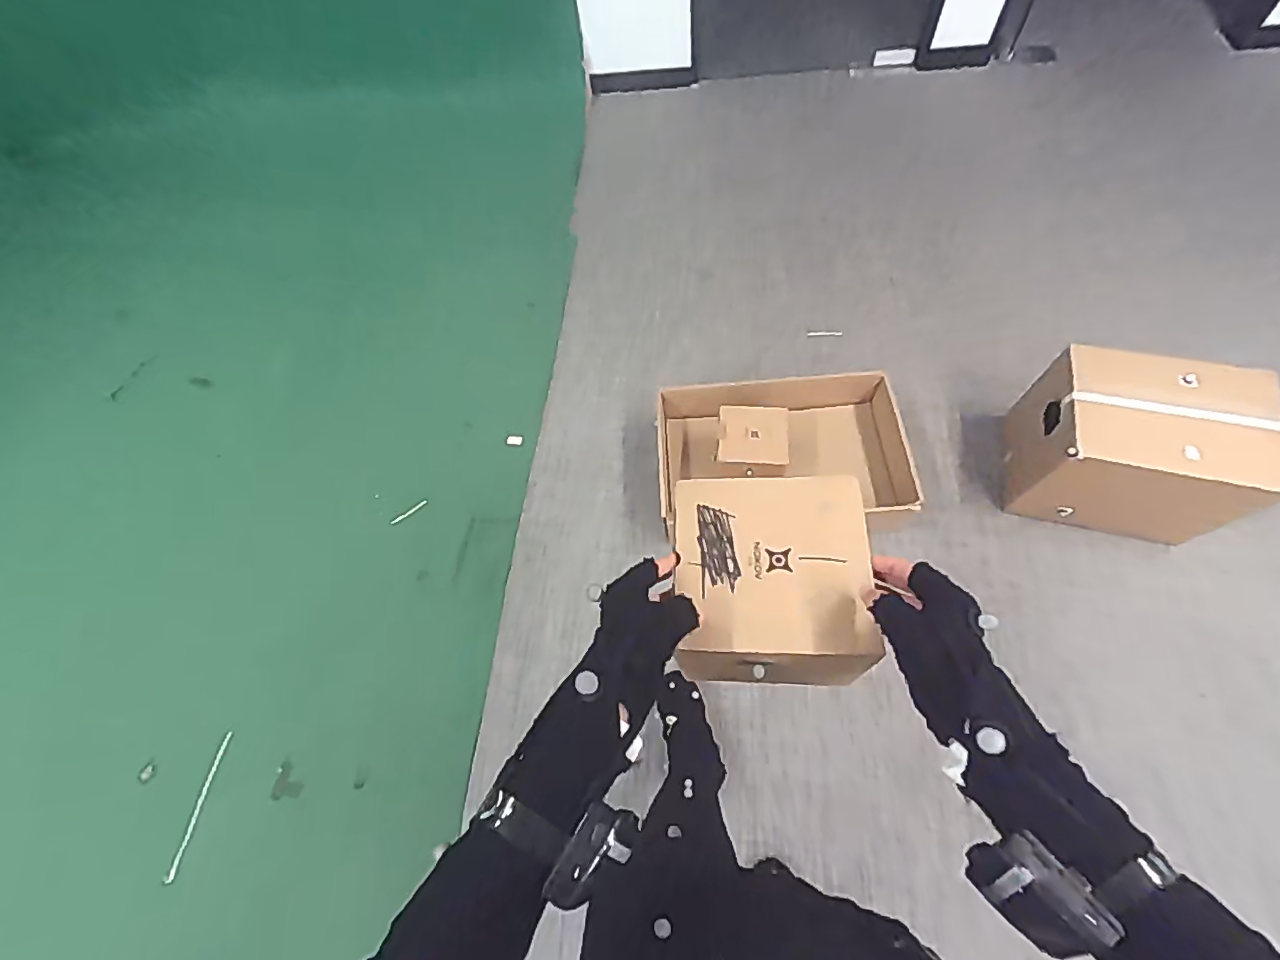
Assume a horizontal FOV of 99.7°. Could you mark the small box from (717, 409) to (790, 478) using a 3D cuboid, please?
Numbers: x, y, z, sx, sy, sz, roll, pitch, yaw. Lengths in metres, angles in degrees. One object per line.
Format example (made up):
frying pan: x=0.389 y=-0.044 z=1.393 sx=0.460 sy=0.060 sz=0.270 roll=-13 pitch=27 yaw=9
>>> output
small box: x=0.296 y=-0.073 z=1.437 sx=0.179 sy=0.176 sz=0.168 roll=3 pitch=64 yaw=6

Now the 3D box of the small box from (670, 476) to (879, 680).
small box: x=0.129 y=0.107 z=0.561 sx=0.179 sy=0.176 sz=0.168 roll=-1 pitch=62 yaw=9
